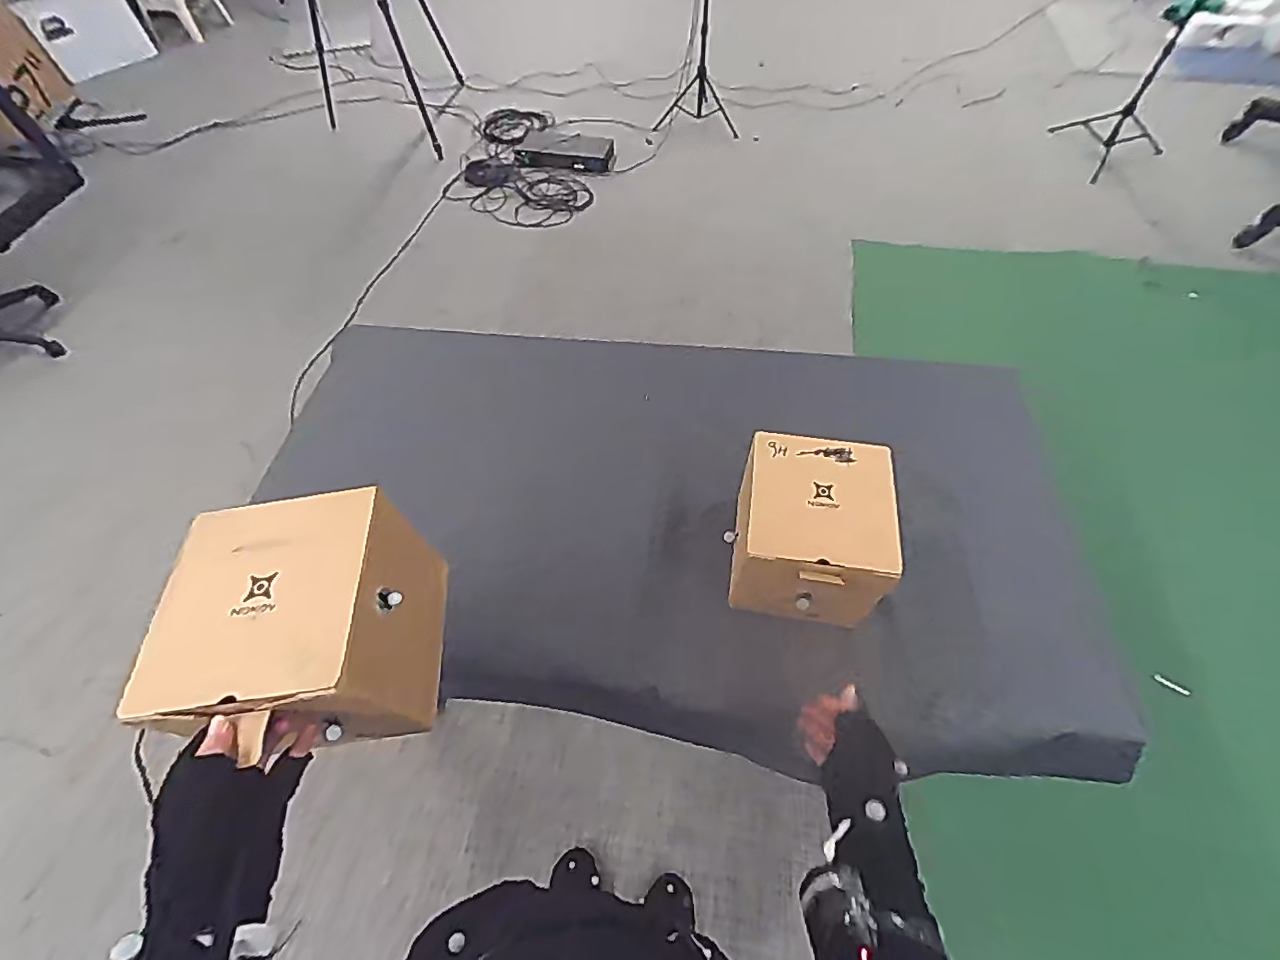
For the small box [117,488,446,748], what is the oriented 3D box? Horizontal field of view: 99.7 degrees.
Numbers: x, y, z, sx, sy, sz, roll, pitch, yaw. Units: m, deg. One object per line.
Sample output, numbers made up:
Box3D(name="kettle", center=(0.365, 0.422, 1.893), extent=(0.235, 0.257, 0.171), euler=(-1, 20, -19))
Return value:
Box3D(name="small box", center=(-0.290, 0.134, 0.491), extent=(0.168, 0.176, 0.179), euler=(-8, 55, 0))
